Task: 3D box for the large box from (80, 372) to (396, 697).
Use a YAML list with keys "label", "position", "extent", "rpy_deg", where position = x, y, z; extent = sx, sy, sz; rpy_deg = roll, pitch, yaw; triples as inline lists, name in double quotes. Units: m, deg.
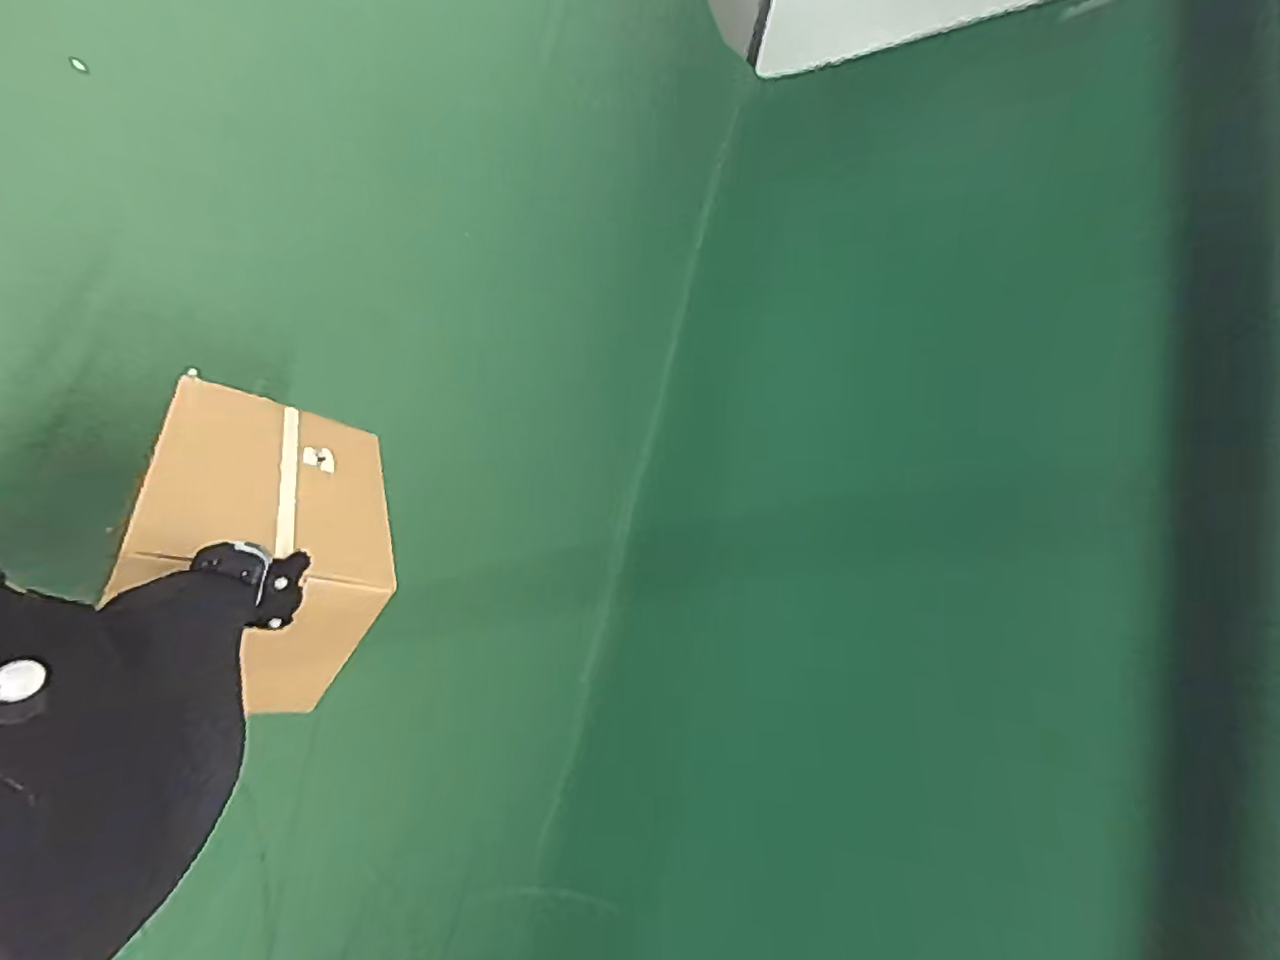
- label: "large box"
  position: [-0.645, 0.095, 0.903]
  extent: [0.320, 0.408, 0.320]
  rpy_deg: [21, 116, -42]
